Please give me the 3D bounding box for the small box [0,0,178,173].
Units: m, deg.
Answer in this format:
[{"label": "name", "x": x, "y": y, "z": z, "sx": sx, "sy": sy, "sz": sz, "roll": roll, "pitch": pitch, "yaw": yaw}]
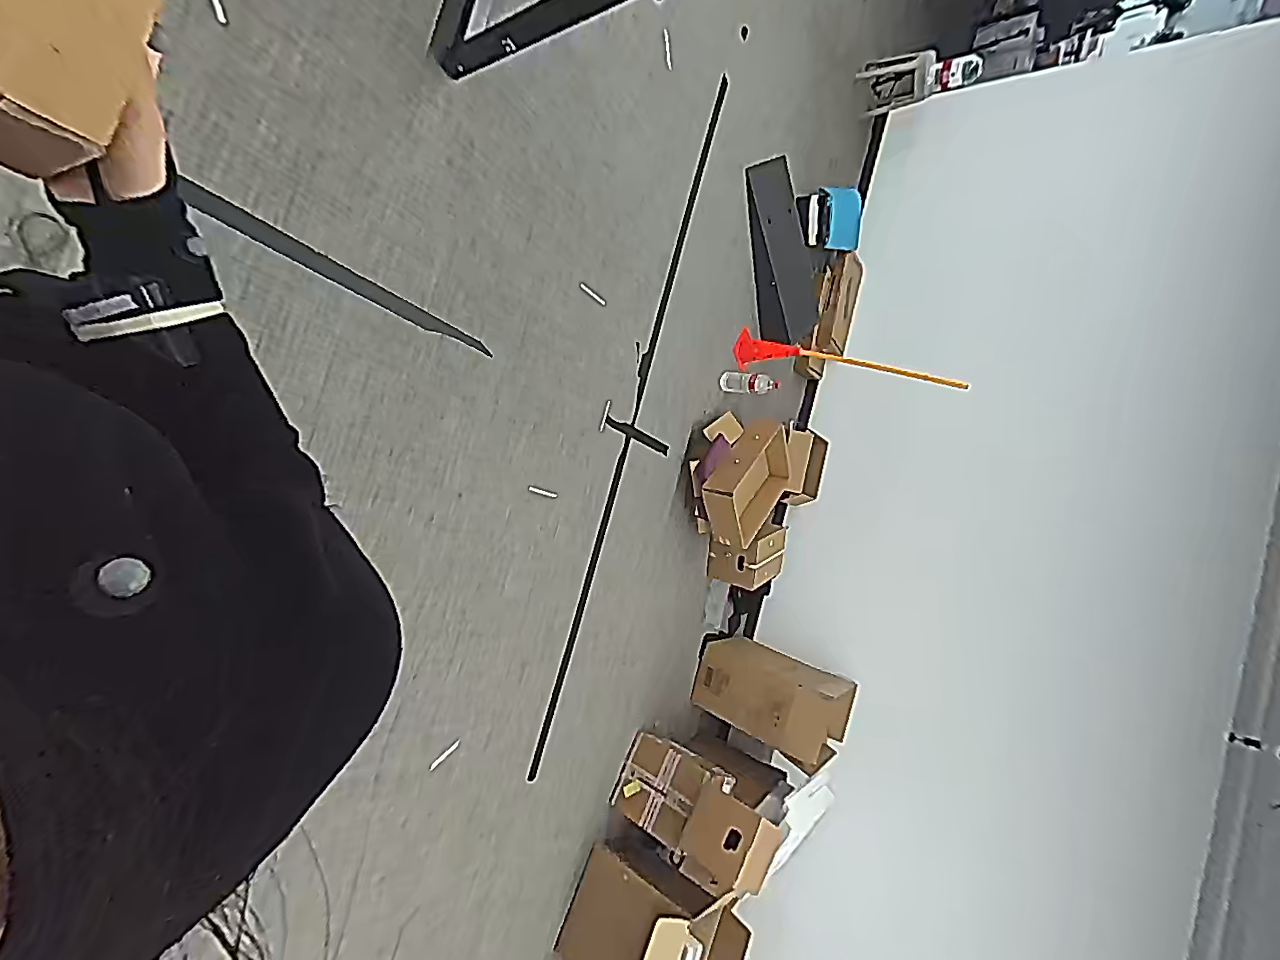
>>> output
[{"label": "small box", "x": -0.314, "y": -0.258, "z": 0.223, "sx": 0.168, "sy": 0.176, "sz": 0.179, "roll": 22, "pitch": 85, "yaw": -57}]
